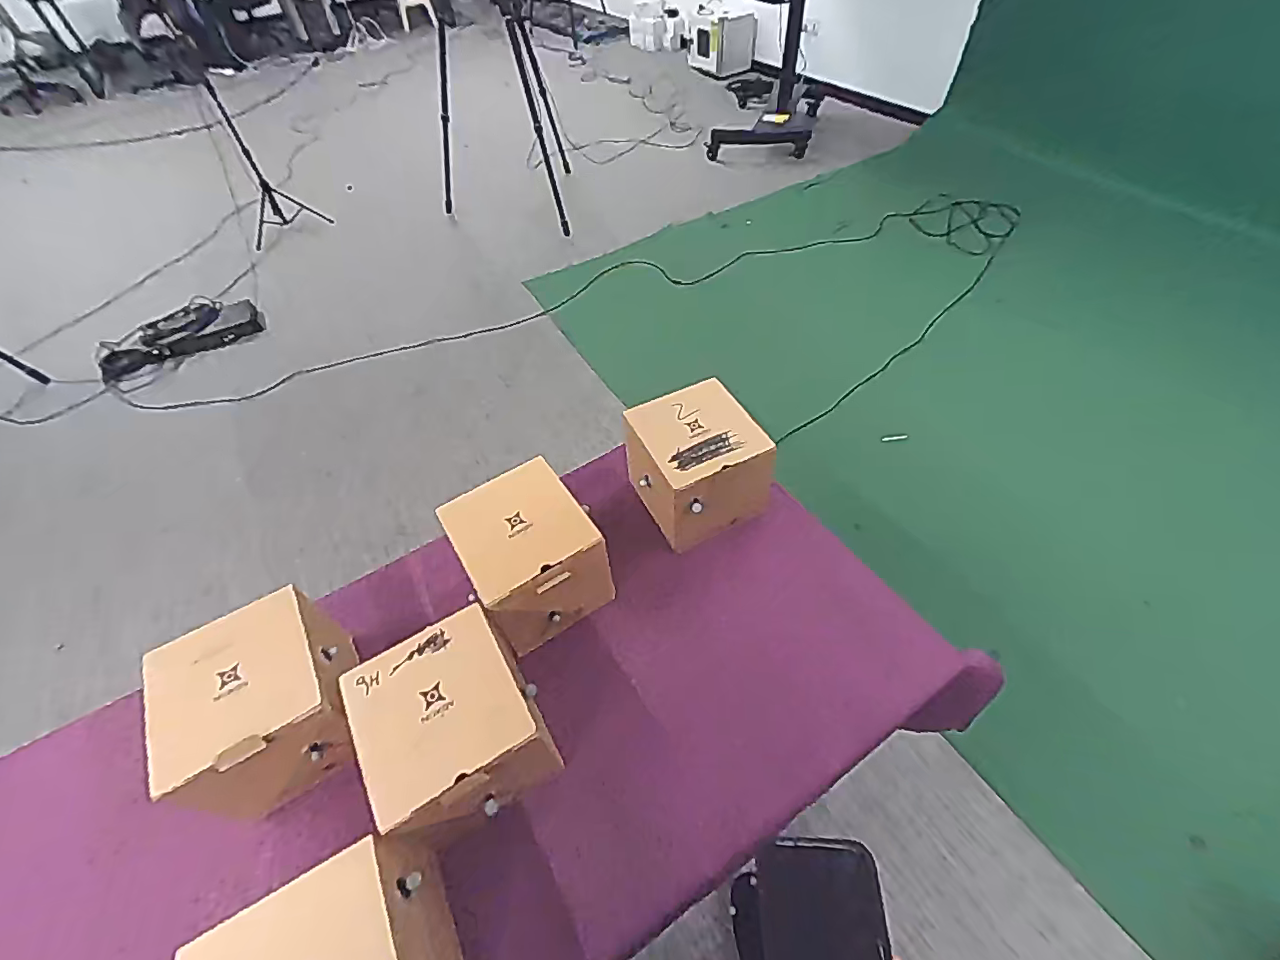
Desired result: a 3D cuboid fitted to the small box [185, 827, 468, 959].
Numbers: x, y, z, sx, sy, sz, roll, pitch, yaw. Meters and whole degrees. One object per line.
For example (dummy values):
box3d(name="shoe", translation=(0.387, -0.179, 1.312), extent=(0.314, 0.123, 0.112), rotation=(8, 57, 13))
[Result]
box3d(name="small box", translation=(-0.268, 0.460, 0.493), extent=(0.168, 0.176, 0.179), rotation=(-26, 54, -15))

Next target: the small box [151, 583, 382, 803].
box3d(name="small box", translation=(-0.445, 0.265, 0.663), extent=(0.168, 0.176, 0.179), rotation=(-27, 55, -18))

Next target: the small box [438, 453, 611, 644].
box3d(name="small box", translation=(-0.157, 0.100, 0.773), extent=(0.168, 0.176, 0.179), rotation=(-30, 57, -18))
